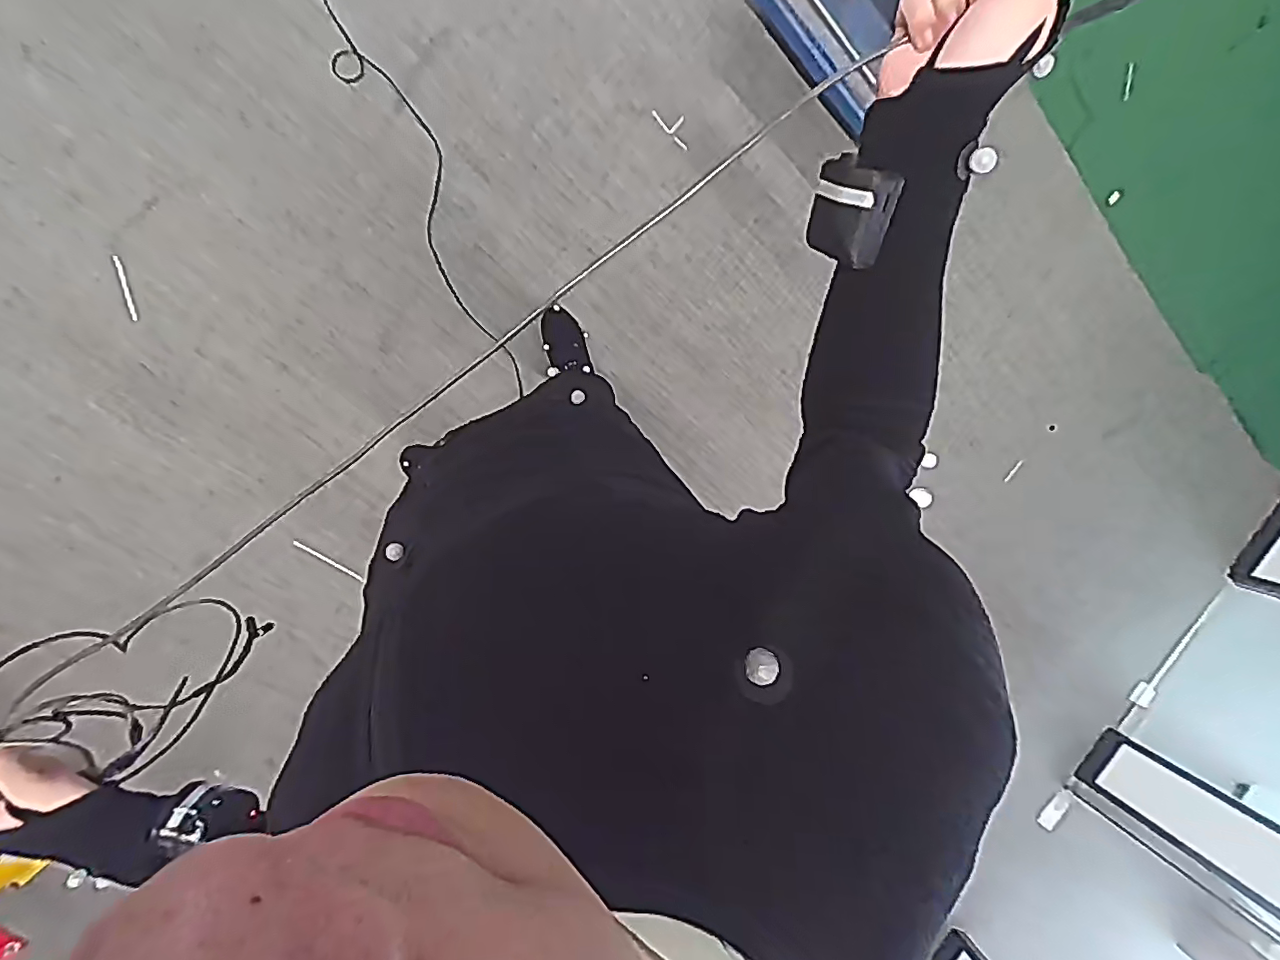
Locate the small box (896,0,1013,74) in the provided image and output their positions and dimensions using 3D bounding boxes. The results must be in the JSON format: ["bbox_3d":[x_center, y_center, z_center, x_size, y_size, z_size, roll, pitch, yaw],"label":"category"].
[{"bbox_3d":[0.799,-1.200,1.375,0.168,0.176,0.179,40,90,-19],"label":"small box"}]
